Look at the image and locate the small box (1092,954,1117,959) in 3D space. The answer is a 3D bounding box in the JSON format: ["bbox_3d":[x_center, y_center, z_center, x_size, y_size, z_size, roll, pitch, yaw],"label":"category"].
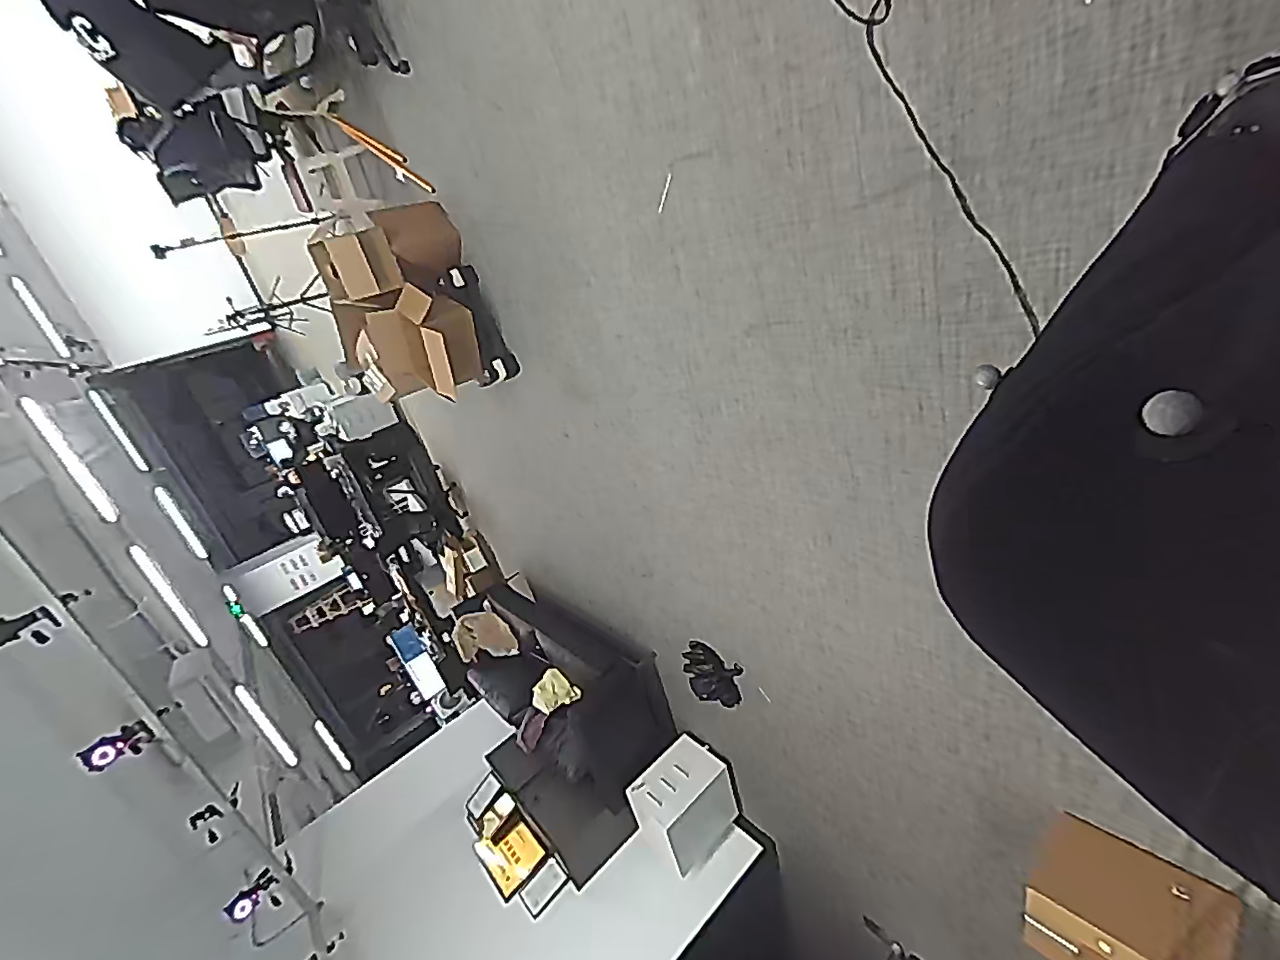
[{"bbox_3d":[1.290,1.429,1.444,0.179,0.176,0.168,20,128,47],"label":"small box"}]
